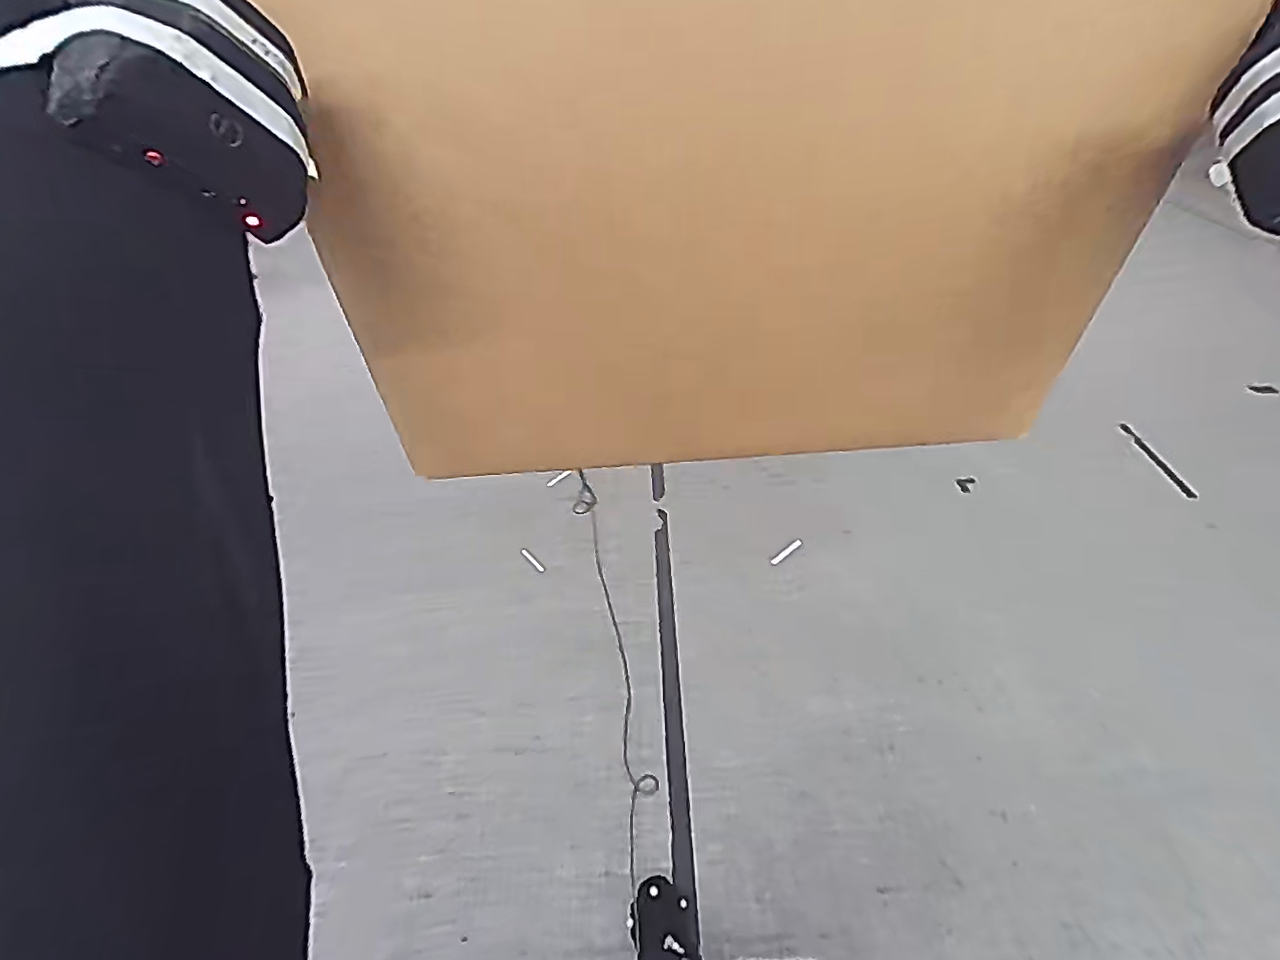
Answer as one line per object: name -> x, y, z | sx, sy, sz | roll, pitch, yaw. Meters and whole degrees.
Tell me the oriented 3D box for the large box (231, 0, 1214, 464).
large box -> 0.032, -0.233, 0.367 | 0.408, 0.320, 0.320 | -4, 43, -3
